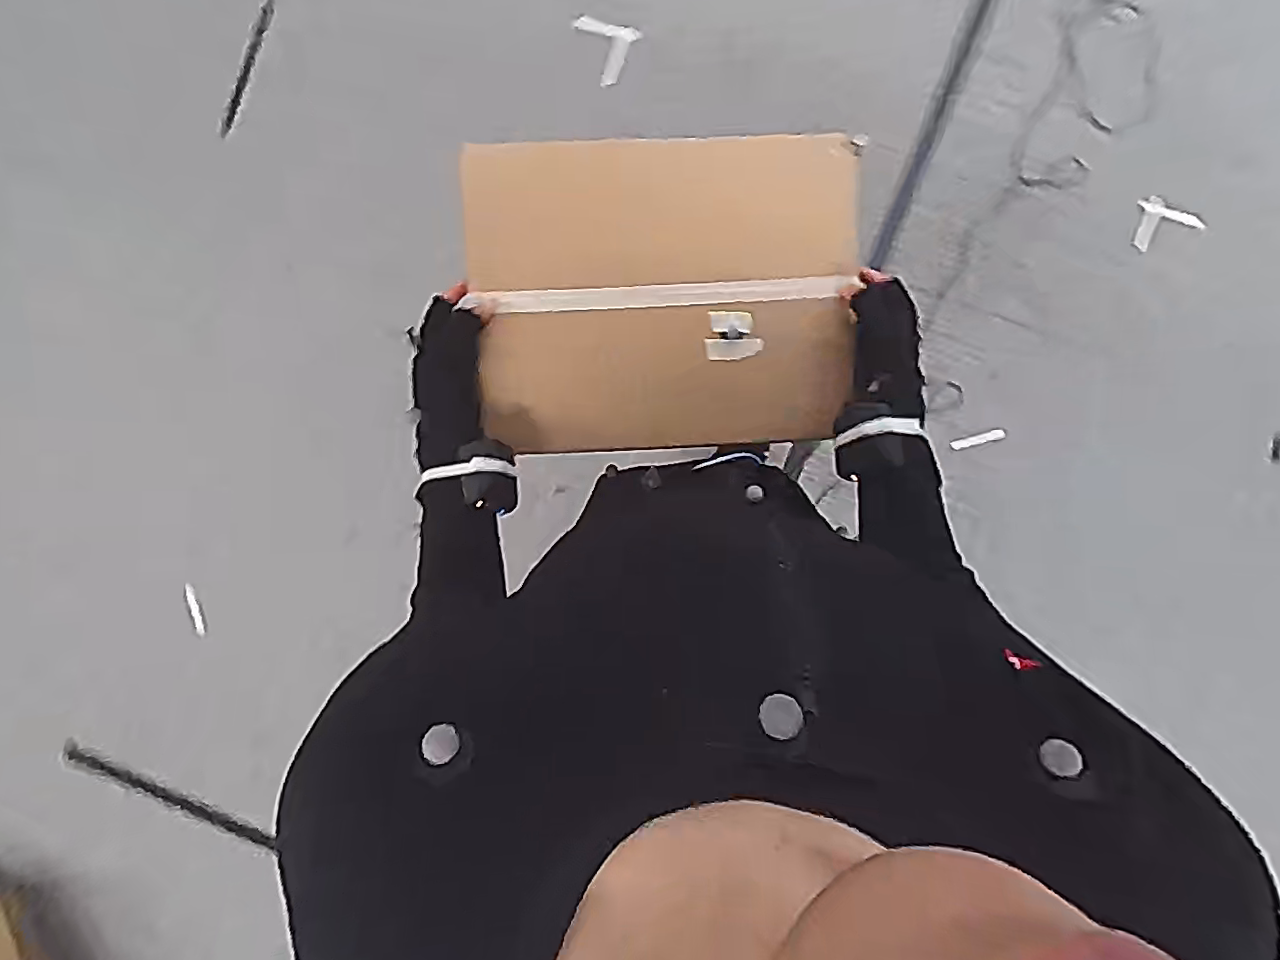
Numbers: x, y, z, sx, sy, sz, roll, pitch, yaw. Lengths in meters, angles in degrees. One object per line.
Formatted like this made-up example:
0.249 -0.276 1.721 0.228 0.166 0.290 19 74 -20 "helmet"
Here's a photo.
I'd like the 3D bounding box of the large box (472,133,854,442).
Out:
0.023 -0.215 0.722 0.408 0.320 0.320 -2 95 -2 "large box"
